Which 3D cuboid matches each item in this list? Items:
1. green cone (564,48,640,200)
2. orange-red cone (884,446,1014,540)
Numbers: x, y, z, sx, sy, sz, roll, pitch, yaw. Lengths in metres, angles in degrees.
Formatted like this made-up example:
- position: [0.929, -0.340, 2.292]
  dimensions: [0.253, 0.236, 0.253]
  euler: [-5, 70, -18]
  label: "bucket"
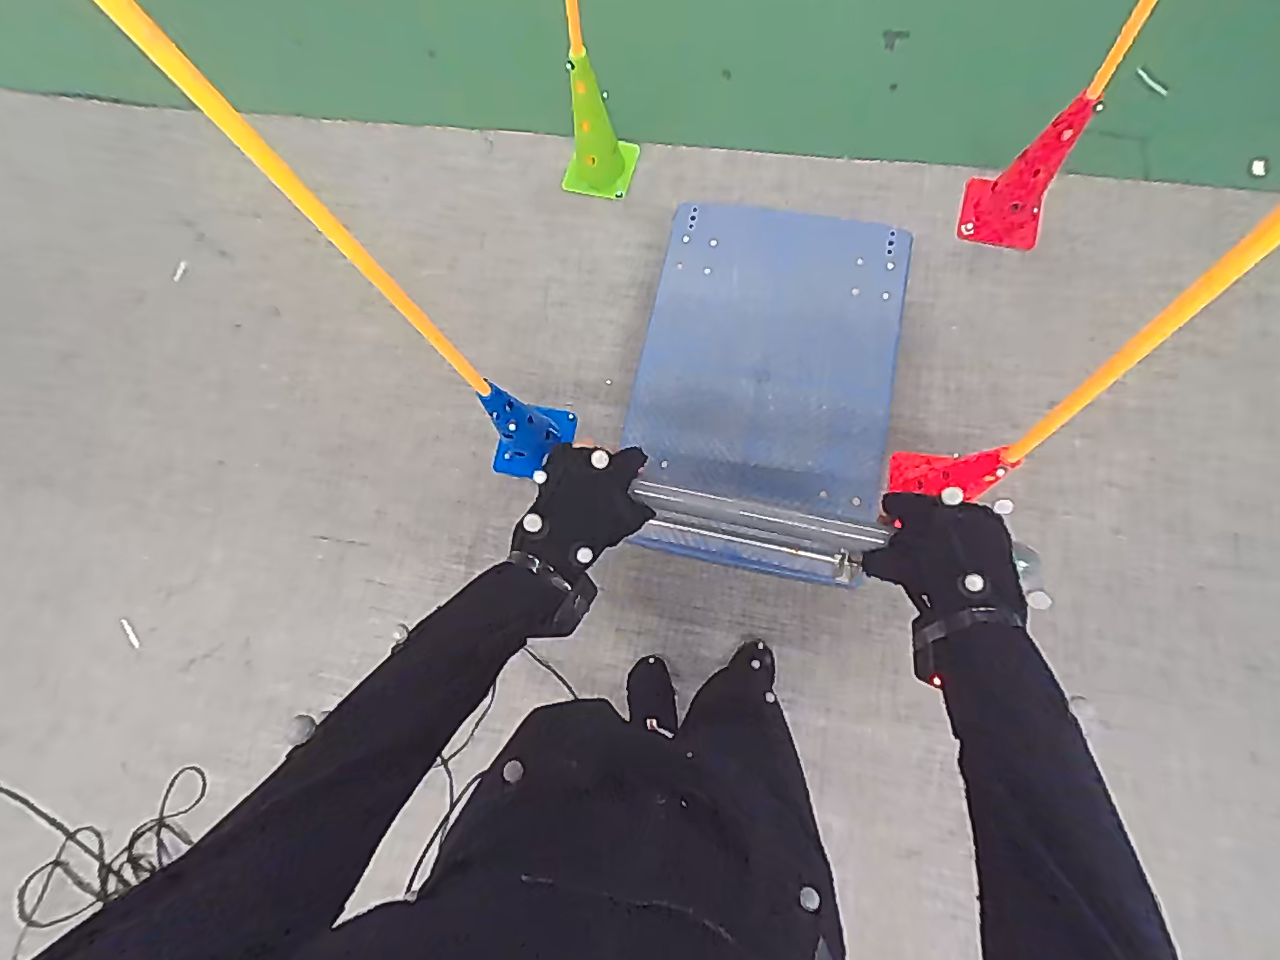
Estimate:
- position: [-0.134, -0.985, 1.475]
  dimensions: [0.202, 0.368, 0.200]
  euler: [14, 78, 9]
  label: "green cone"
- position: [0.689, -0.001, 1.166]
  dimensions: [0.199, 0.360, 0.198]
  euler: [9, 77, 9]
  label: "orange-red cone"
